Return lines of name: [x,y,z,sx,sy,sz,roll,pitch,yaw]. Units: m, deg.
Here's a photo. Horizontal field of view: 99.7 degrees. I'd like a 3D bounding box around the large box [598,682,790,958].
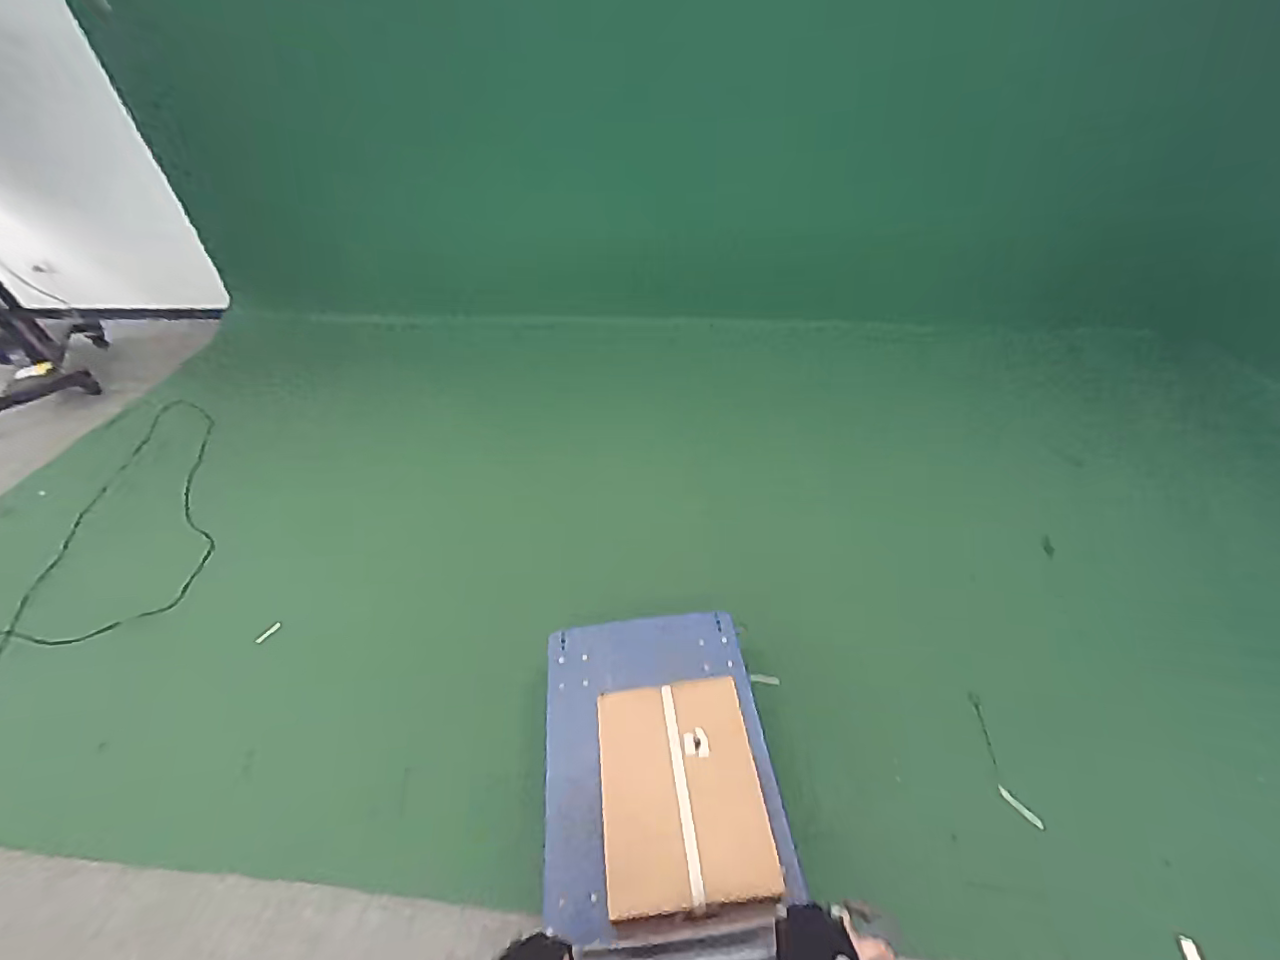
large box: [0.092,0.713,1.155,0.320,0.320,0.408,-6,41,-3]
